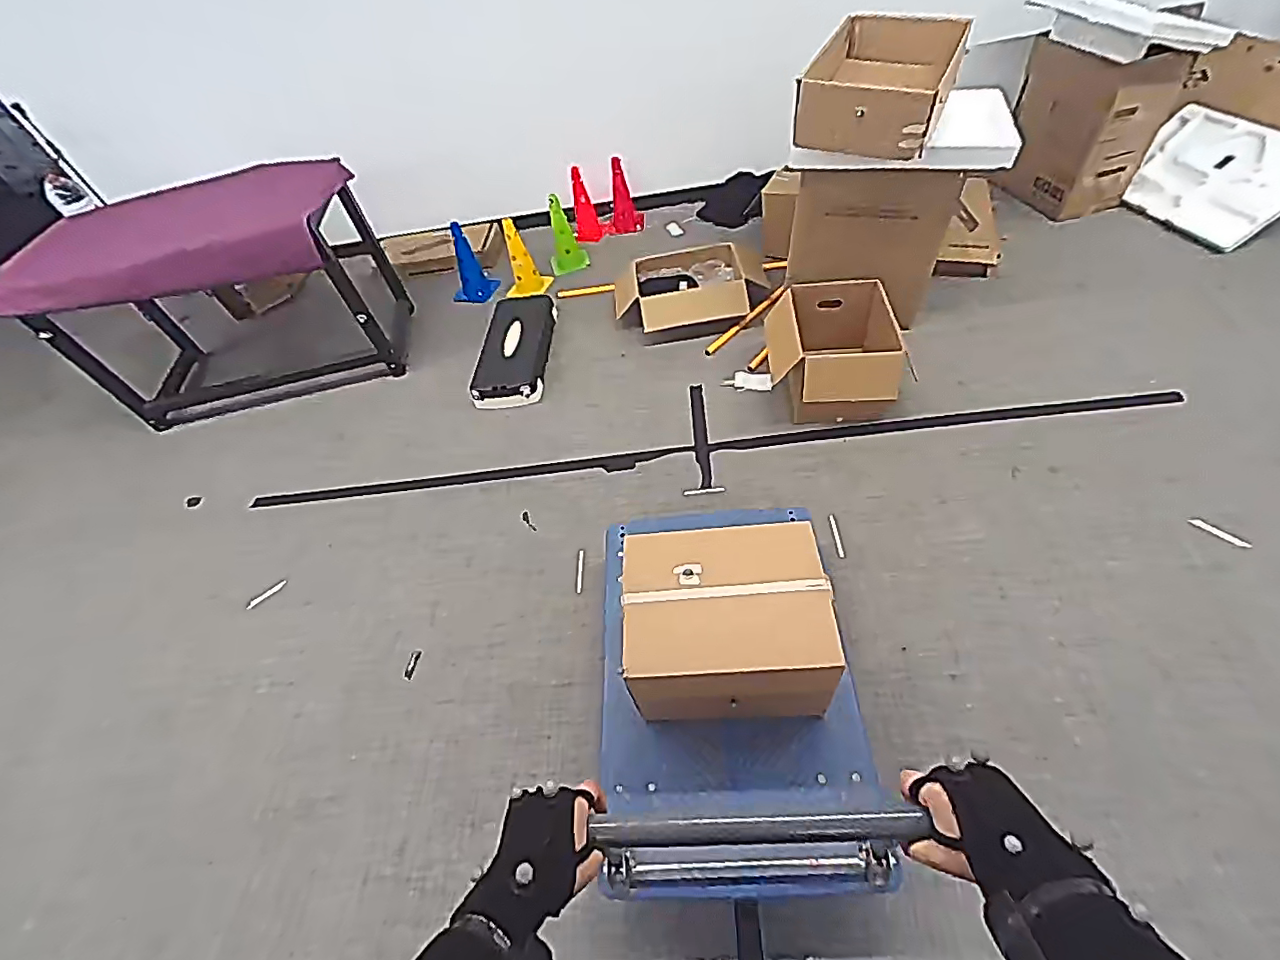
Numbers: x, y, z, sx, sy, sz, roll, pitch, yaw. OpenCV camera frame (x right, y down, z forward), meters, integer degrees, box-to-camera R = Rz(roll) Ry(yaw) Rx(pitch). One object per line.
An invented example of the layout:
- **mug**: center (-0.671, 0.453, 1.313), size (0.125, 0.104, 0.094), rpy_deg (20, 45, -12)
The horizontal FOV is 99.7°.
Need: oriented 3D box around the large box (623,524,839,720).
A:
- **large box**: center (0.188, 0.328, 1.210), size (0.408, 0.320, 0.320), rpy_deg (-6, 50, 6)
